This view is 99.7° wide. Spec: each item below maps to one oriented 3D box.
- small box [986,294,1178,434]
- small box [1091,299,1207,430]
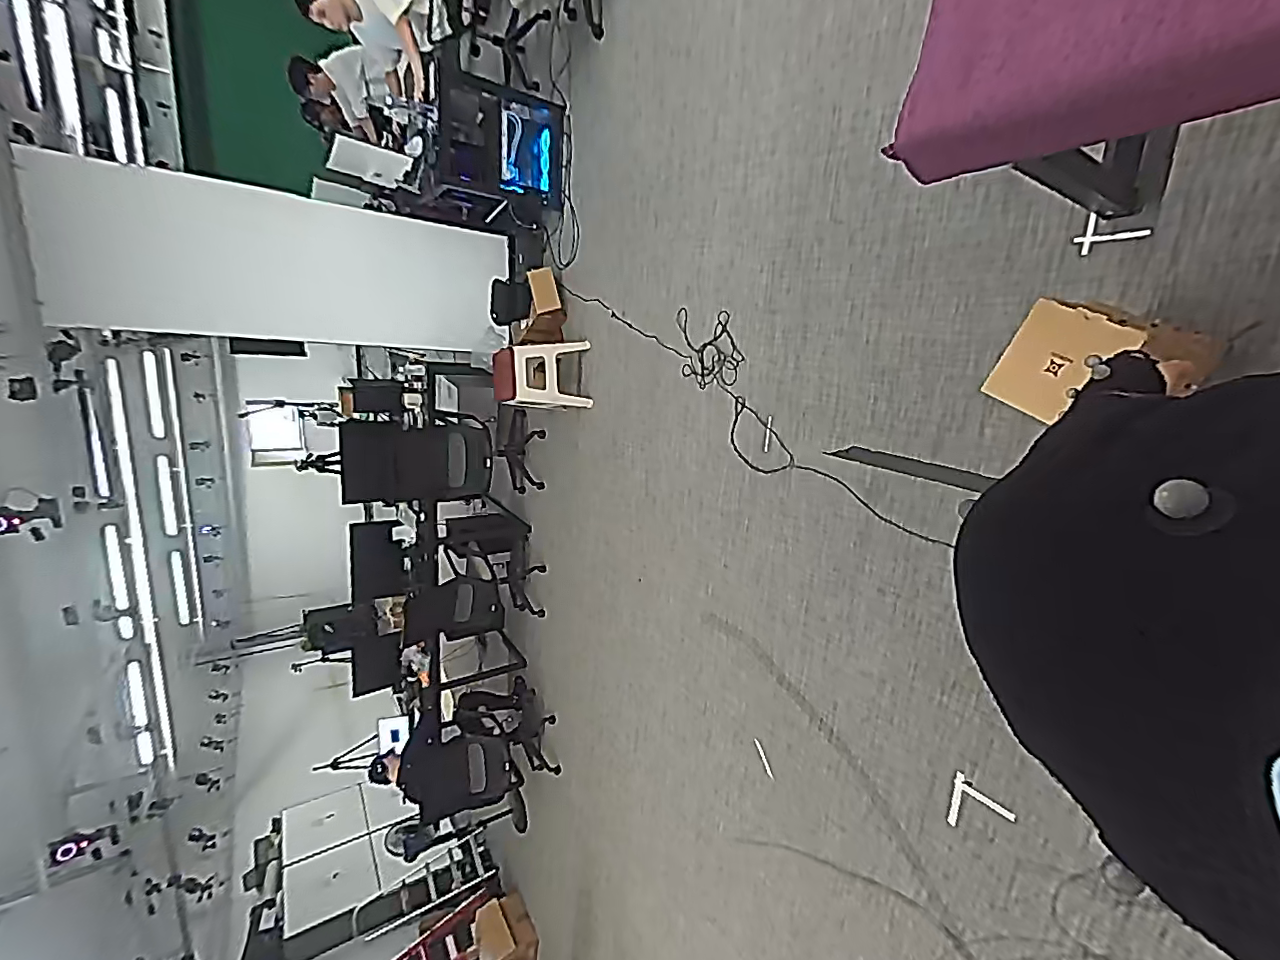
[{"bbox_3d":[0.747,-0.195,0.917,0.168,0.176,0.179,48,132,41],"label":"small box"},{"bbox_3d":[0.885,-0.212,1.002,0.168,0.176,0.179,55,137,37],"label":"small box"}]
